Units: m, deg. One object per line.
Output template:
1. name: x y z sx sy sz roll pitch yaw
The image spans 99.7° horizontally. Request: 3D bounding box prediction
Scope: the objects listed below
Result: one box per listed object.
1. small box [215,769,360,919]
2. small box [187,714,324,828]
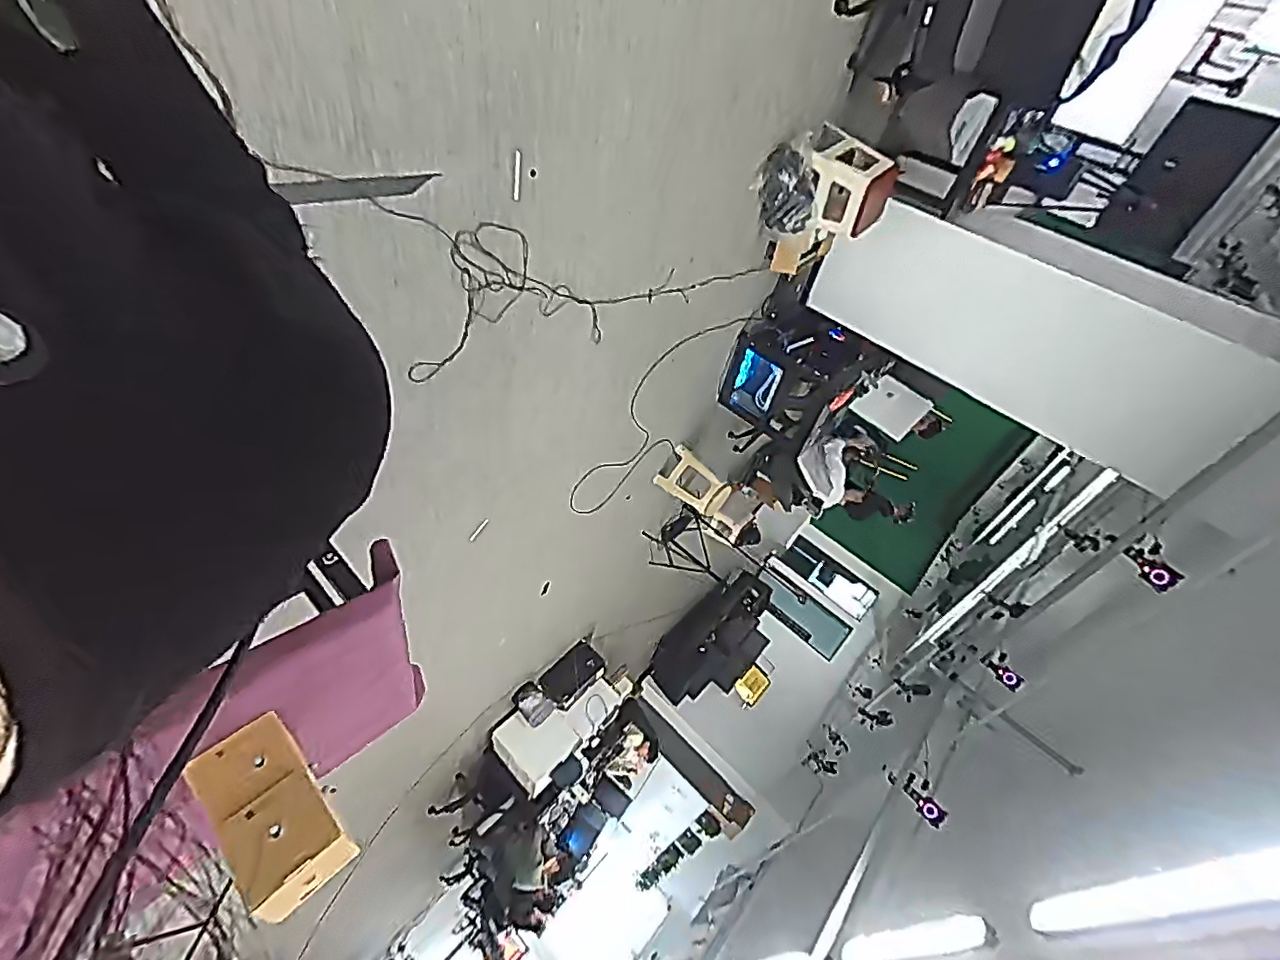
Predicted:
1. small box: -0.692 0.712 1.069 0.168 0.176 0.179 -34 151 -36
2. small box: -0.814 0.634 1.150 0.168 0.176 0.179 -33 152 -38
